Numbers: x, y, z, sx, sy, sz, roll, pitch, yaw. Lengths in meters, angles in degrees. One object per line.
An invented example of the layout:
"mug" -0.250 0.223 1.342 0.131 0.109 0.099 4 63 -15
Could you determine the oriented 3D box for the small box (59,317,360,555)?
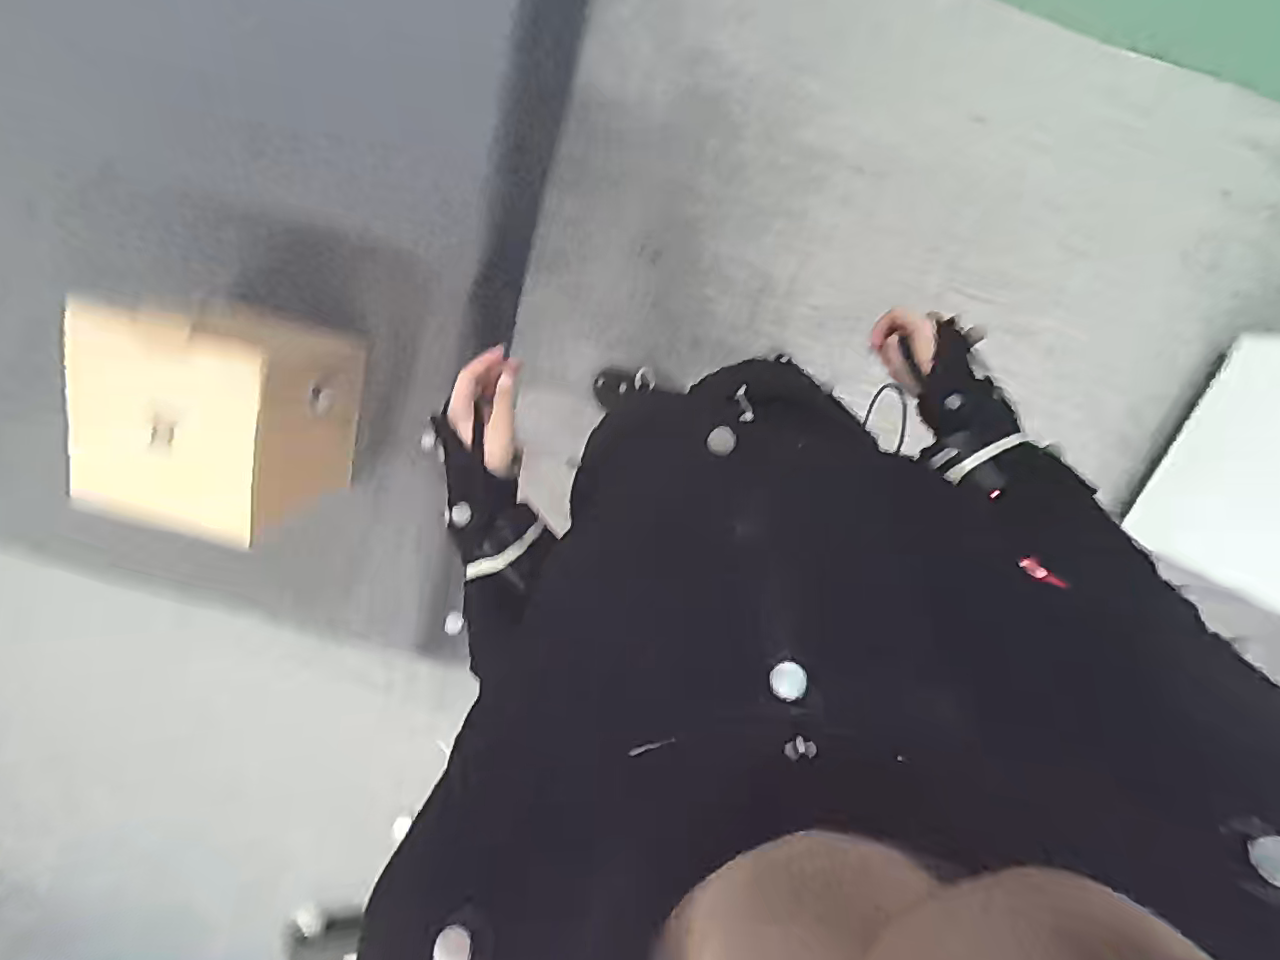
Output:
"small box" -0.406 -0.055 0.538 0.168 0.176 0.179 15 107 -2
